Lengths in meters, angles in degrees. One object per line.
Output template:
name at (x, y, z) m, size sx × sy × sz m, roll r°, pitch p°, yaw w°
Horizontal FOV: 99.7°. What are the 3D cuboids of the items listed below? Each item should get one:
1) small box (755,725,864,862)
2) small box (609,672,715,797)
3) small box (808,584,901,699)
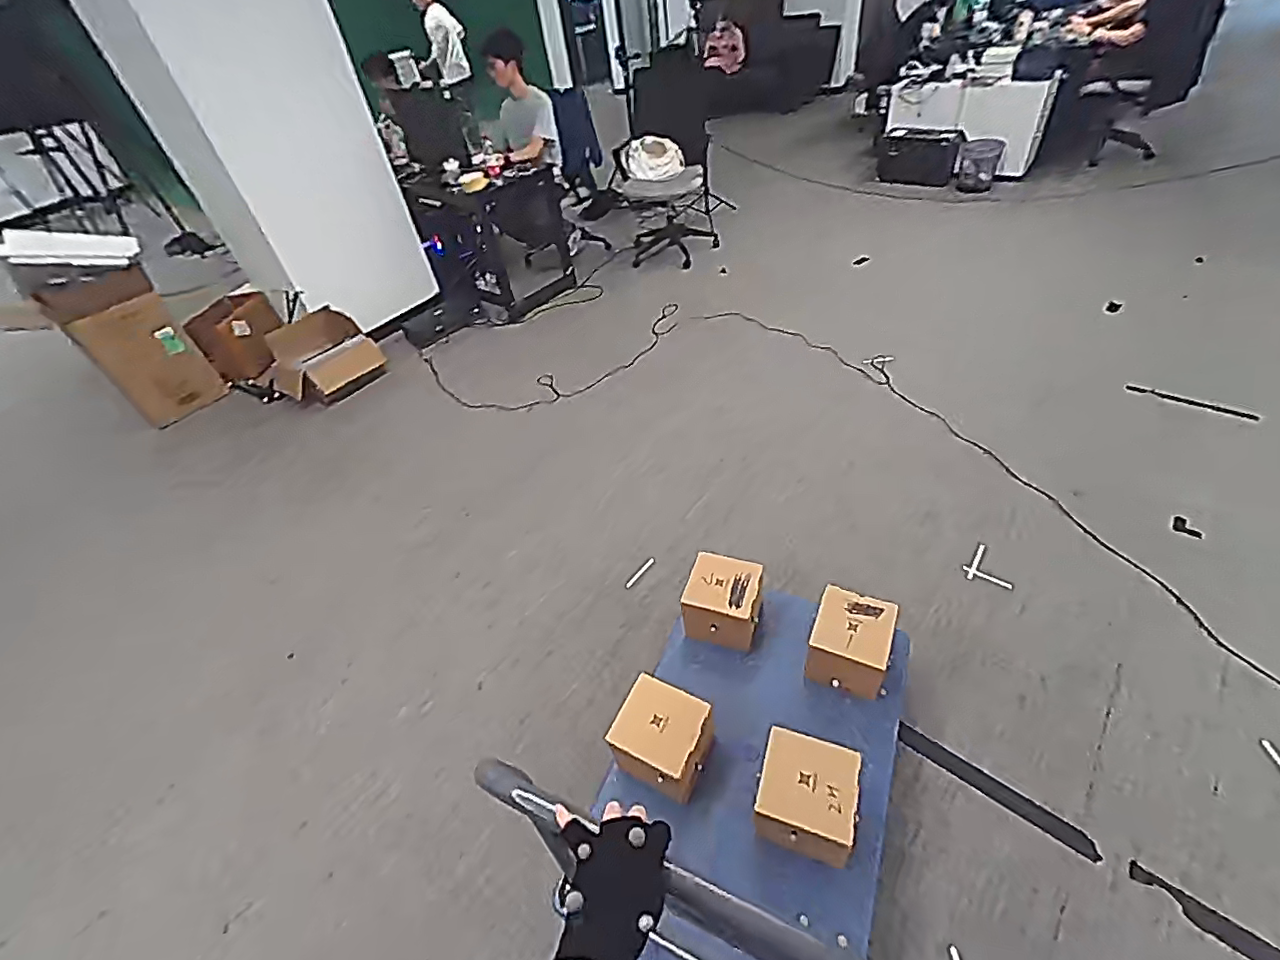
small box at (0.334, 0.626, 1.076) m, size 0.179 × 0.176 × 0.168 m, roll 11°, pitch 48°, yaw 21°
small box at (0.055, 0.566, 1.195) m, size 0.179 × 0.176 × 0.168 m, roll 17°, pitch 50°, yaw 24°
small box at (0.506, 0.386, 1.290) m, size 0.168 × 0.176 × 0.179 m, roll 15°, pitch 50°, yaw 24°
